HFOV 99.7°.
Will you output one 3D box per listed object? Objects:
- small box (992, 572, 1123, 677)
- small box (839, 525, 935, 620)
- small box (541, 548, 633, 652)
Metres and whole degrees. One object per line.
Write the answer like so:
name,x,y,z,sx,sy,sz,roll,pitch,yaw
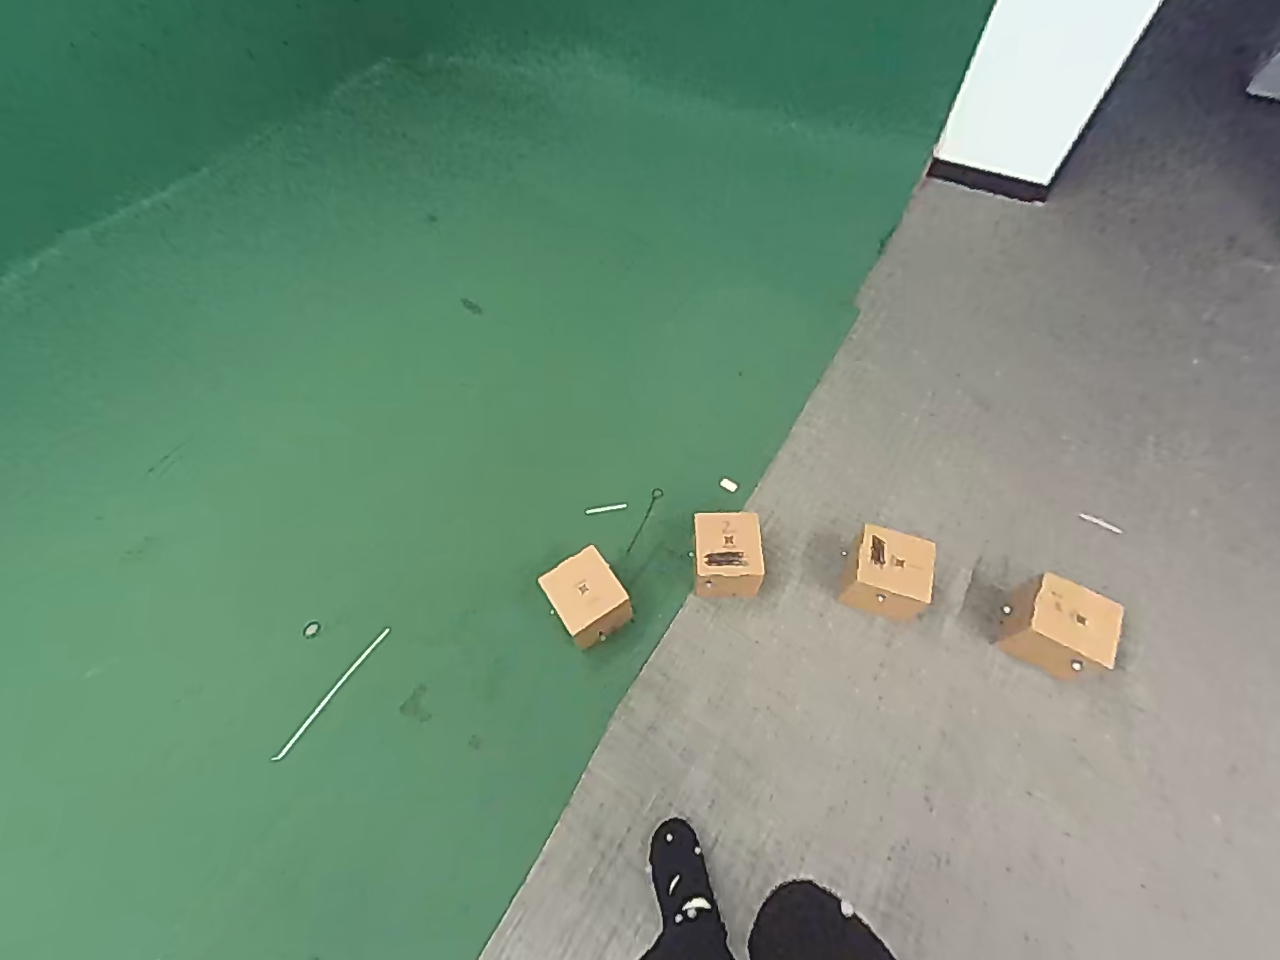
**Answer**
small box,1.002,0.356,1.308,0.179,0.176,0.168,28,64,18
small box,0.630,0.244,1.395,0.179,0.176,0.168,16,62,12
small box,-0.134,0.314,1.398,0.168,0.176,0.179,-31,62,-14
